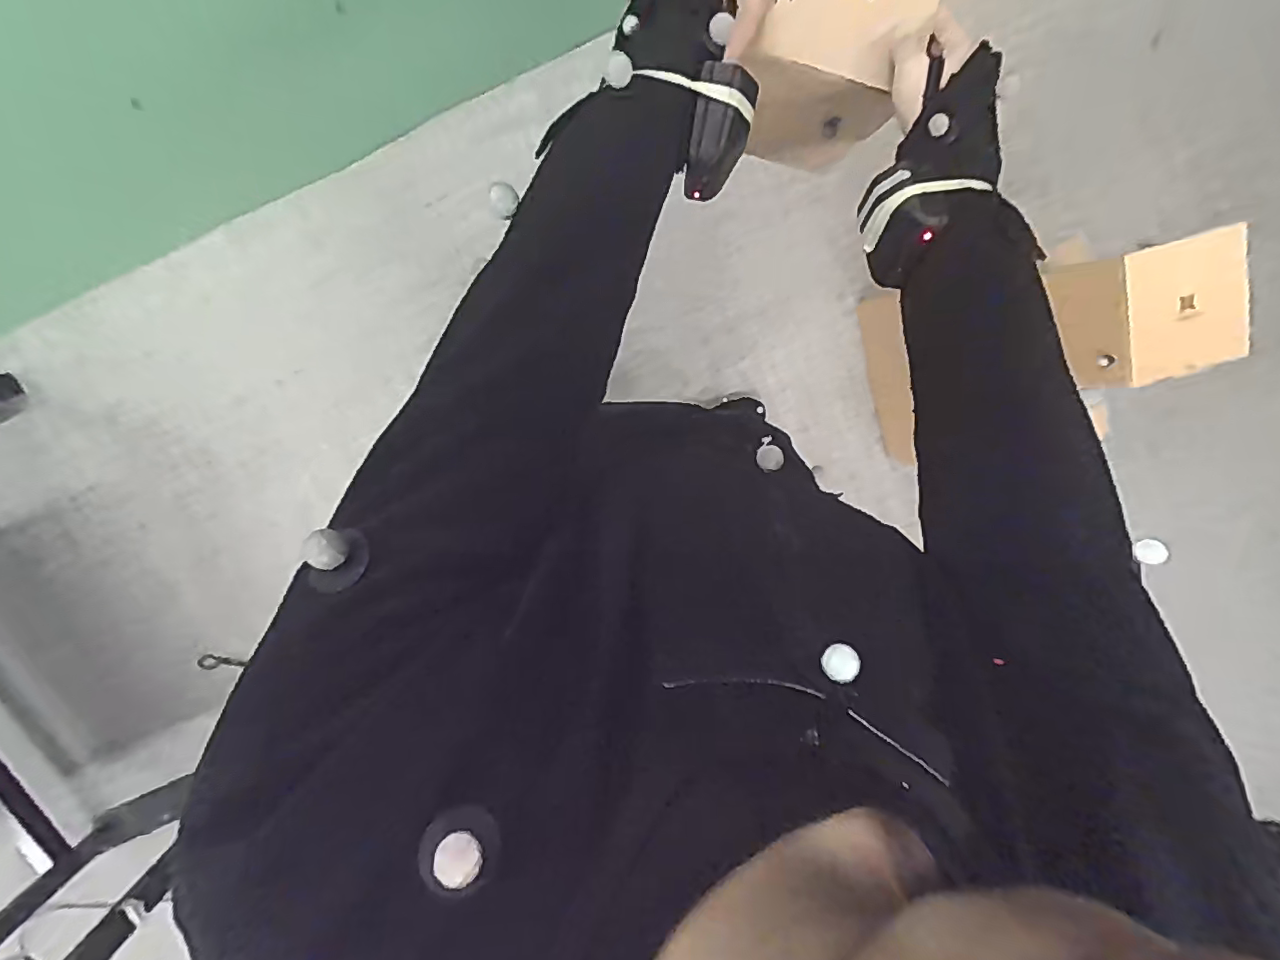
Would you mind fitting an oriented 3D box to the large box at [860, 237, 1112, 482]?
[{"bbox_3d":[0.735,-0.254,1.191,0.320,0.320,0.408,-18,102,2],"label":"large box"}]

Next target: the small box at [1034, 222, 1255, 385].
[{"bbox_3d":[0.710,-0.241,0.780,0.168,0.176,0.179,-16,102,0],"label":"small box"}]

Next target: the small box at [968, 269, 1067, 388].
[{"bbox_3d":[0.711,-0.268,0.940,0.168,0.176,0.179,-18,100,0],"label":"small box"}]
